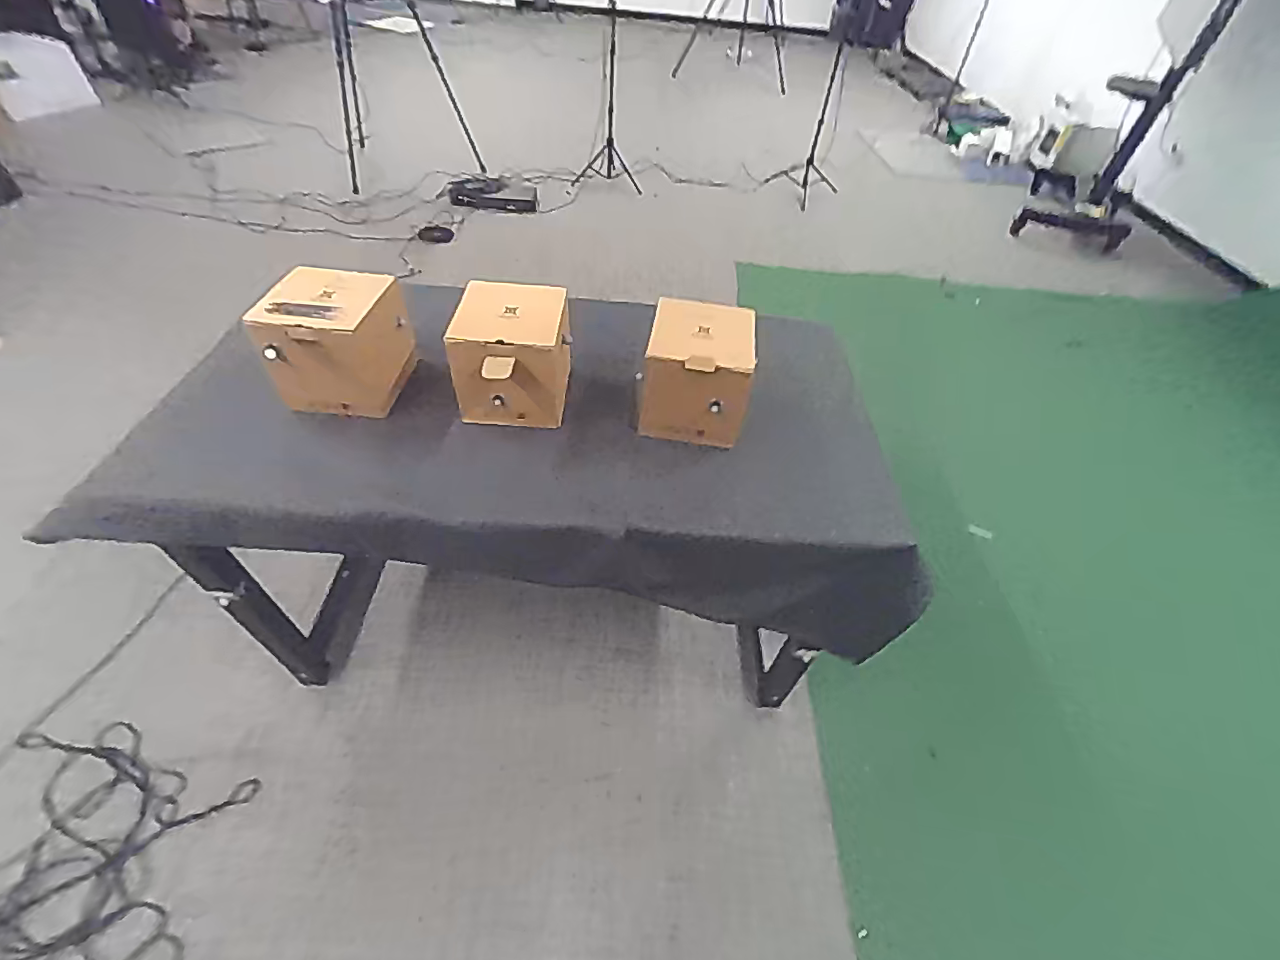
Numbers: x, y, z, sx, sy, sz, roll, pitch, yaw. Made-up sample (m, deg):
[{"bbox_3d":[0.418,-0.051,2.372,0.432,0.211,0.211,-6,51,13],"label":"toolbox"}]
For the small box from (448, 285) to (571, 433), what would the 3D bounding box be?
[{"bbox_3d":[-0.210,-0.204,0.918,0.168,0.176,0.179,4,48,-3],"label":"small box"}]

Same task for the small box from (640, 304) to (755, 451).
[{"bbox_3d":[0.095,-0.171,0.919,0.168,0.176,0.179,10,46,1],"label":"small box"}]
